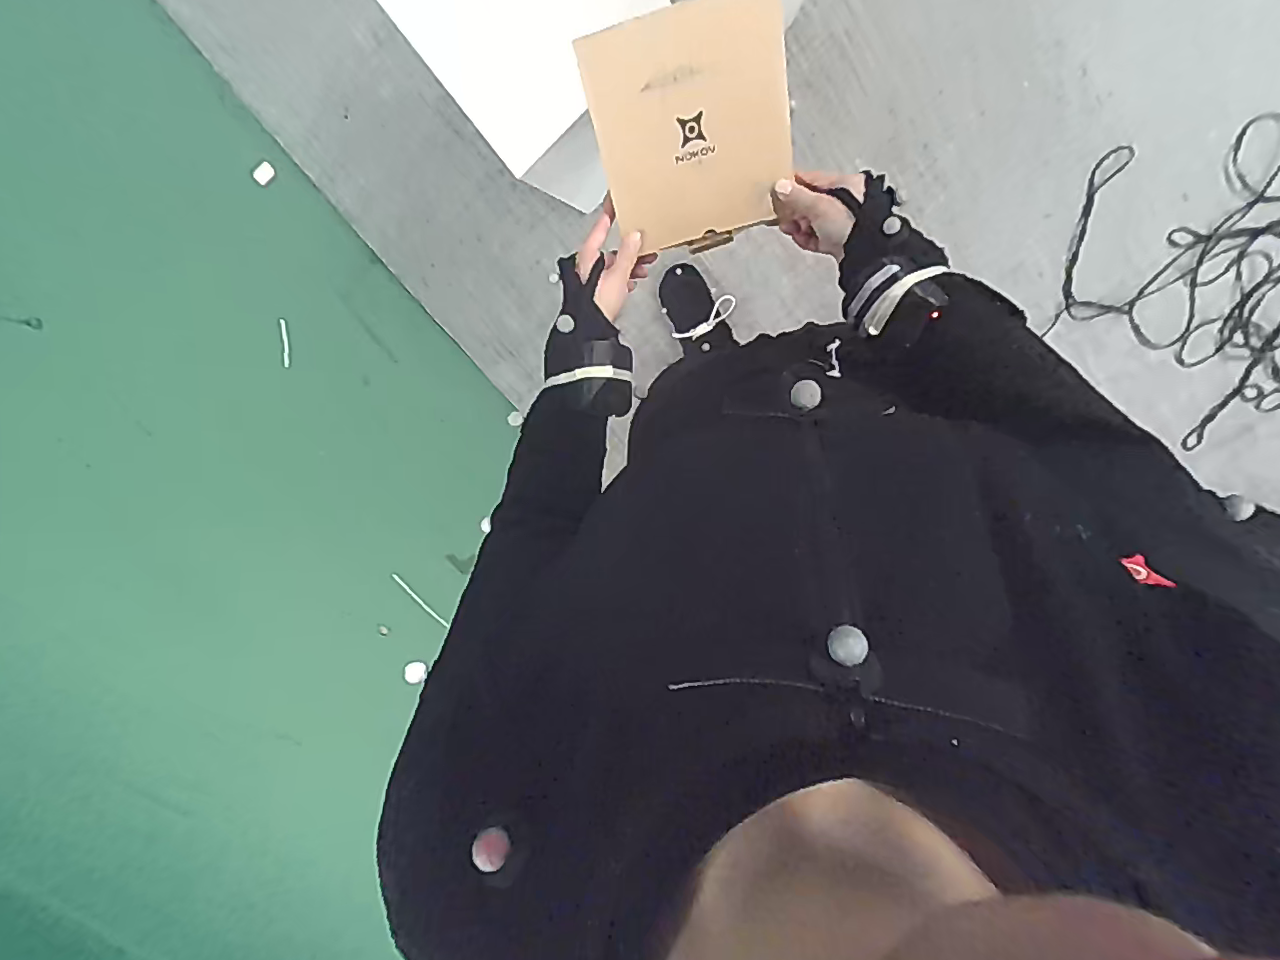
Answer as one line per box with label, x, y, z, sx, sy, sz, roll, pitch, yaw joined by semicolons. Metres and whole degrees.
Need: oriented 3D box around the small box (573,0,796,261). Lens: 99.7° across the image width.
small box;0.047;-0.342;0.526;0.168;0.176;0.179;-12;125;10
